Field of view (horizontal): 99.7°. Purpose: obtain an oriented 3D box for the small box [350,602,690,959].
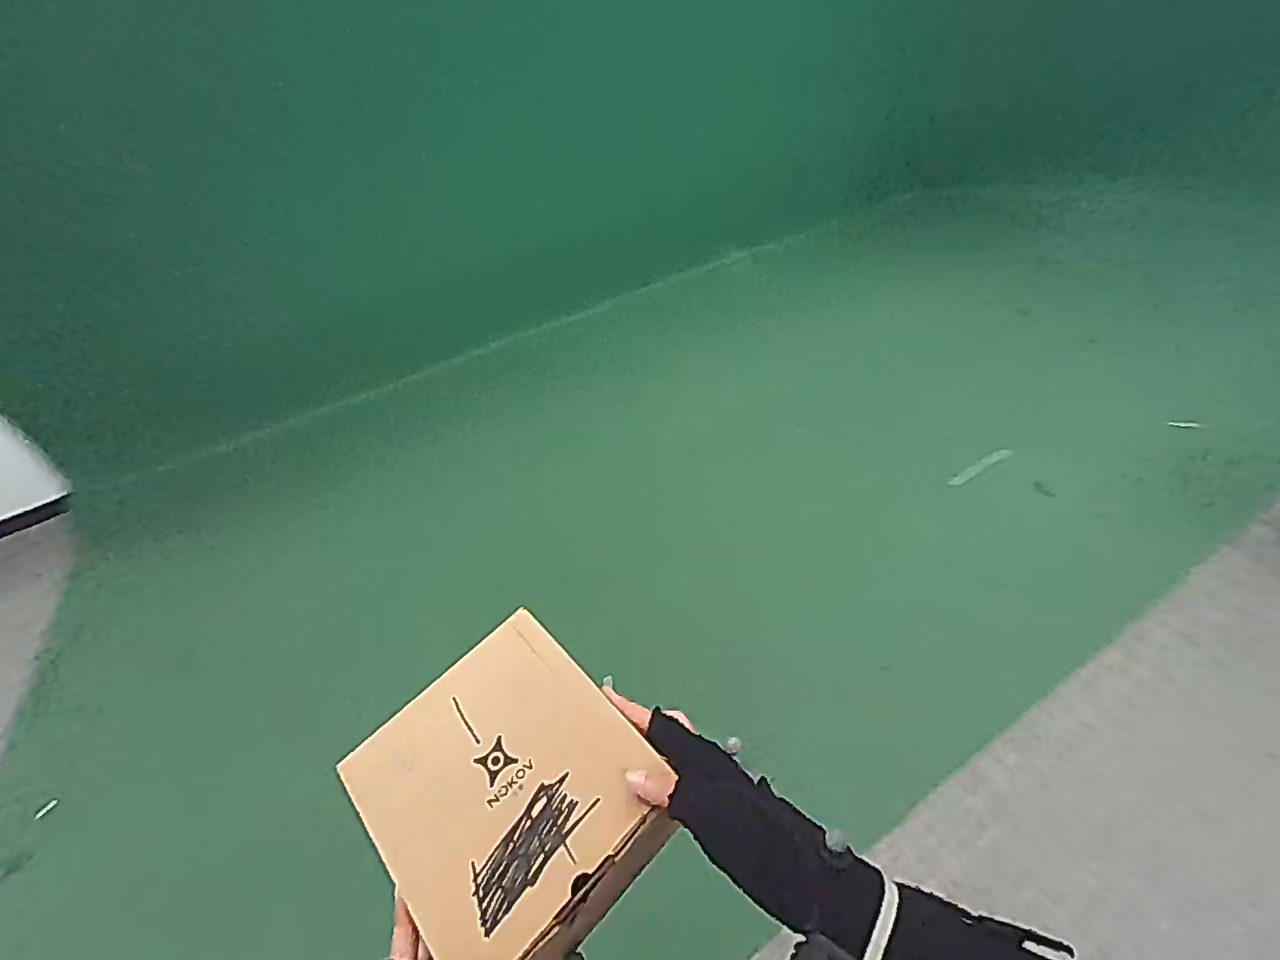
[{"bbox_3d":[-0.076,0.236,0.420,0.168,0.176,0.179,-38,55,-20],"label":"small box"}]
